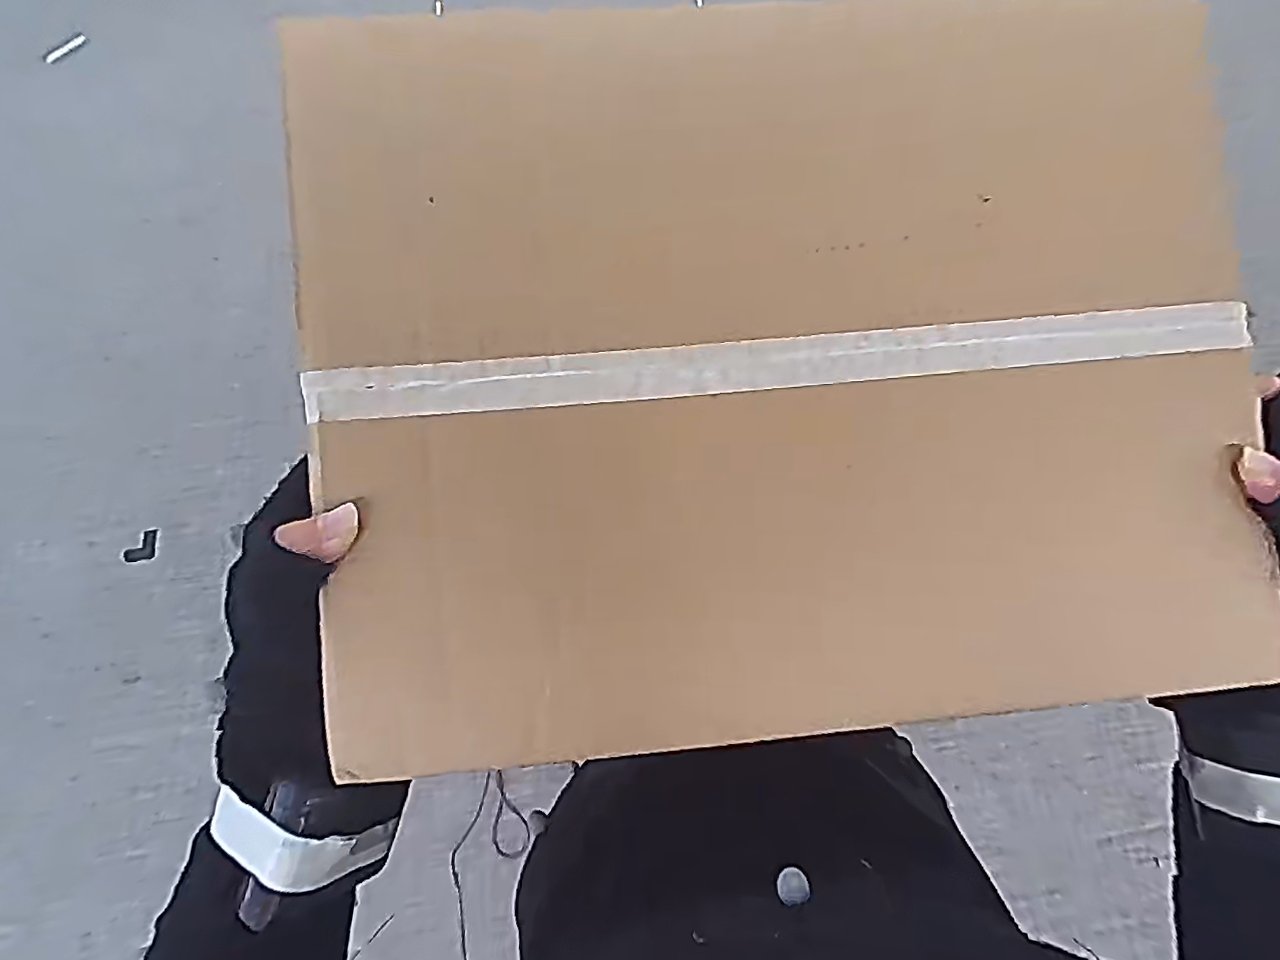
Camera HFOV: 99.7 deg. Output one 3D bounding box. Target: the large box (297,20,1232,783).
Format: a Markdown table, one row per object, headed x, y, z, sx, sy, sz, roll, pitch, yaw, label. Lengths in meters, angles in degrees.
| x | y | z | sx | sy | sz | roll | pitch | yaw | label |
| --- | --- | --- | --- | --- | --- | --- | --- | --- | --- |
| 0.056 | -0.040 | 0.390 | 0.408 | 0.320 | 0.320 | -5 | 88 | -3 | large box |
